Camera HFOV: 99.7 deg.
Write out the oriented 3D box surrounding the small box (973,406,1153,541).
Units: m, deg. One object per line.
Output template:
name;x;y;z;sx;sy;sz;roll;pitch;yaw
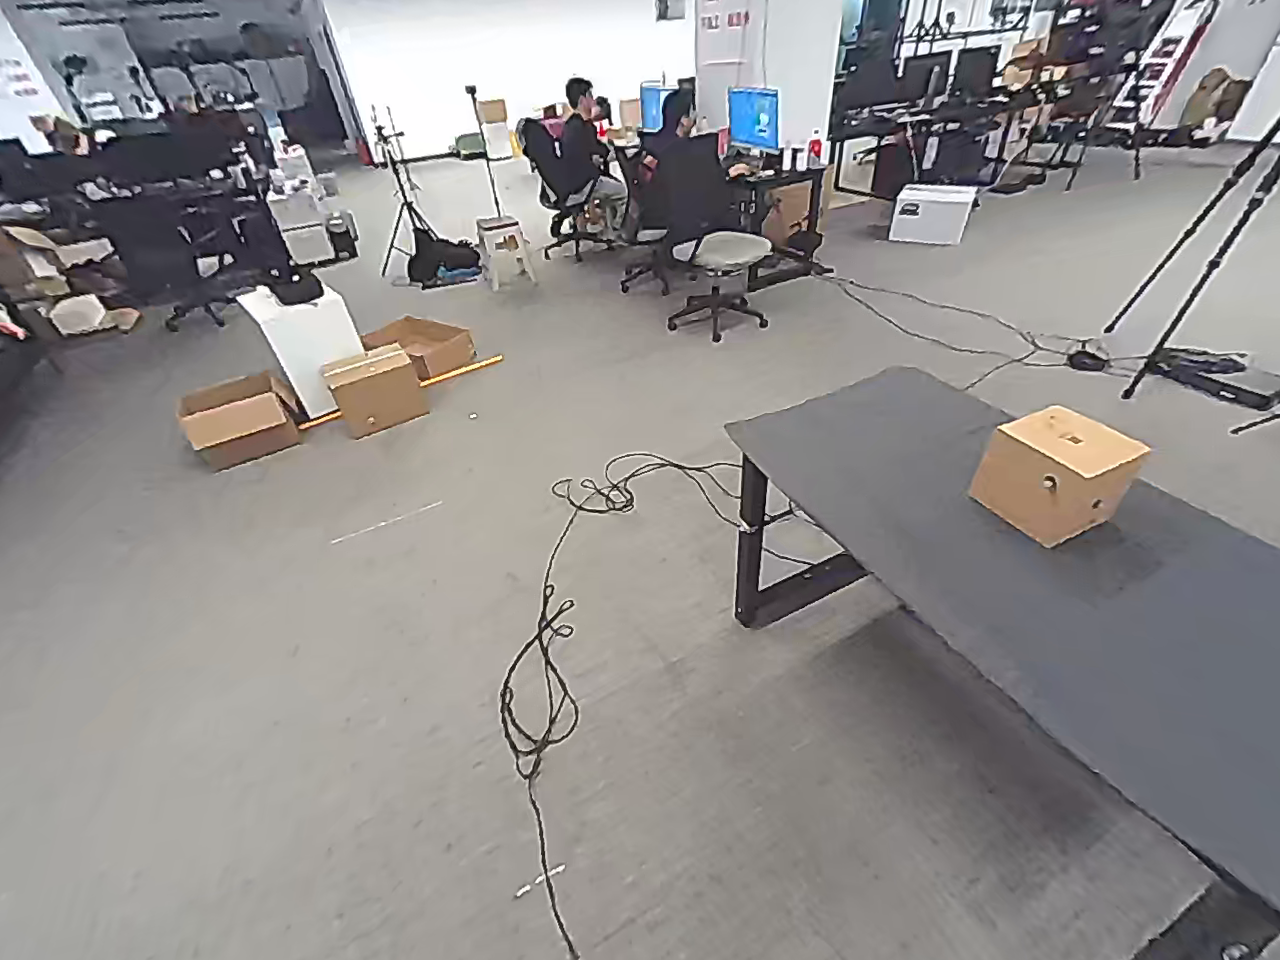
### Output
small box;0.773;-0.008;1.010;0.168;0.176;0.179;-18;40;-16
